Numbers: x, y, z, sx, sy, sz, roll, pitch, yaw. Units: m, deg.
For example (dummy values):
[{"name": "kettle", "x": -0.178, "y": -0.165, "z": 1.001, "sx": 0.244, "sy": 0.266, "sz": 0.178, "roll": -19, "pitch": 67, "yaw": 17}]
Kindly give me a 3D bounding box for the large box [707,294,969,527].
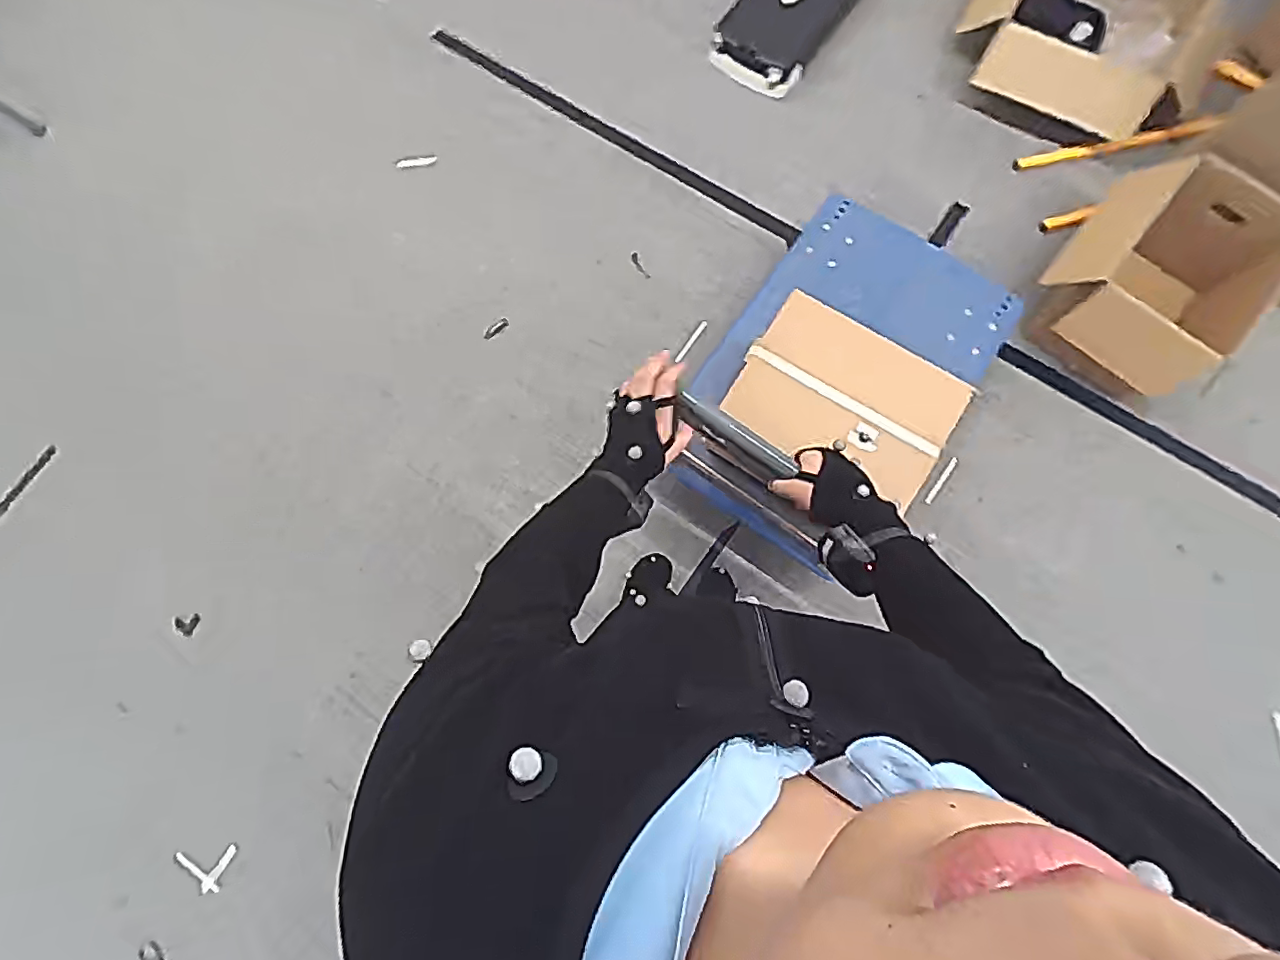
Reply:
[{"name": "large box", "x": 0.406, "y": -0.133, "z": 1.214, "sx": 0.408, "sy": 0.320, "sz": 0.320, "roll": 32, "pitch": 85, "yaw": 6}]
